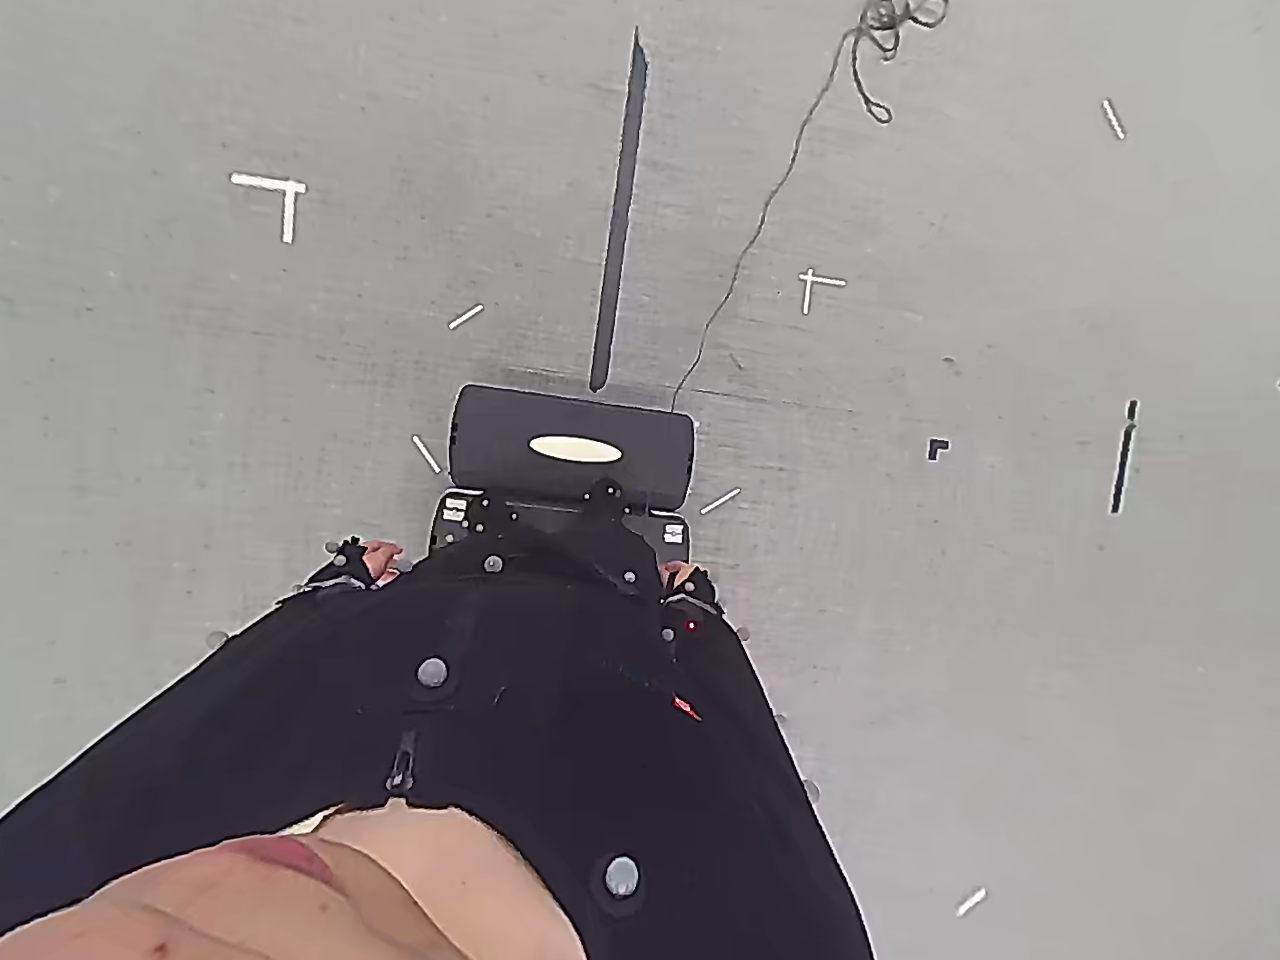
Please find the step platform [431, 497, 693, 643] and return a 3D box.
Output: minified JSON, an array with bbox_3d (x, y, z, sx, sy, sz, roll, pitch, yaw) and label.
[{"bbox_3d":[-0.200,0.245,1.472,0.684,0.204,0.286,11,89,-8],"label":"step platform"}]
